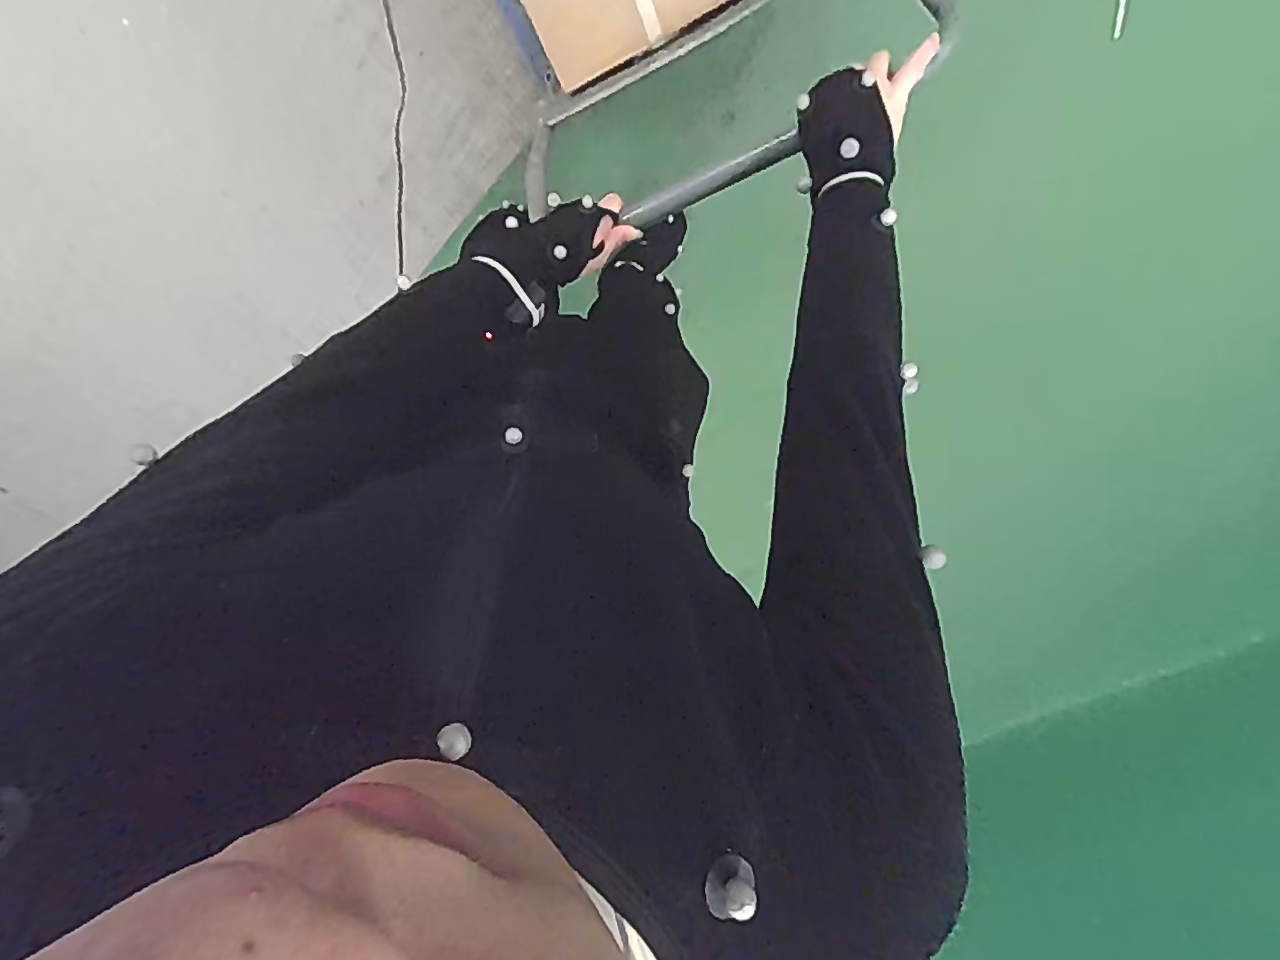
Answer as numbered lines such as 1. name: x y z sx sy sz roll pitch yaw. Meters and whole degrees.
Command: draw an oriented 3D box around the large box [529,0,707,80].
1. large box: -0.054 -0.901 0.782 0.320 0.320 0.408 -18 133 17
